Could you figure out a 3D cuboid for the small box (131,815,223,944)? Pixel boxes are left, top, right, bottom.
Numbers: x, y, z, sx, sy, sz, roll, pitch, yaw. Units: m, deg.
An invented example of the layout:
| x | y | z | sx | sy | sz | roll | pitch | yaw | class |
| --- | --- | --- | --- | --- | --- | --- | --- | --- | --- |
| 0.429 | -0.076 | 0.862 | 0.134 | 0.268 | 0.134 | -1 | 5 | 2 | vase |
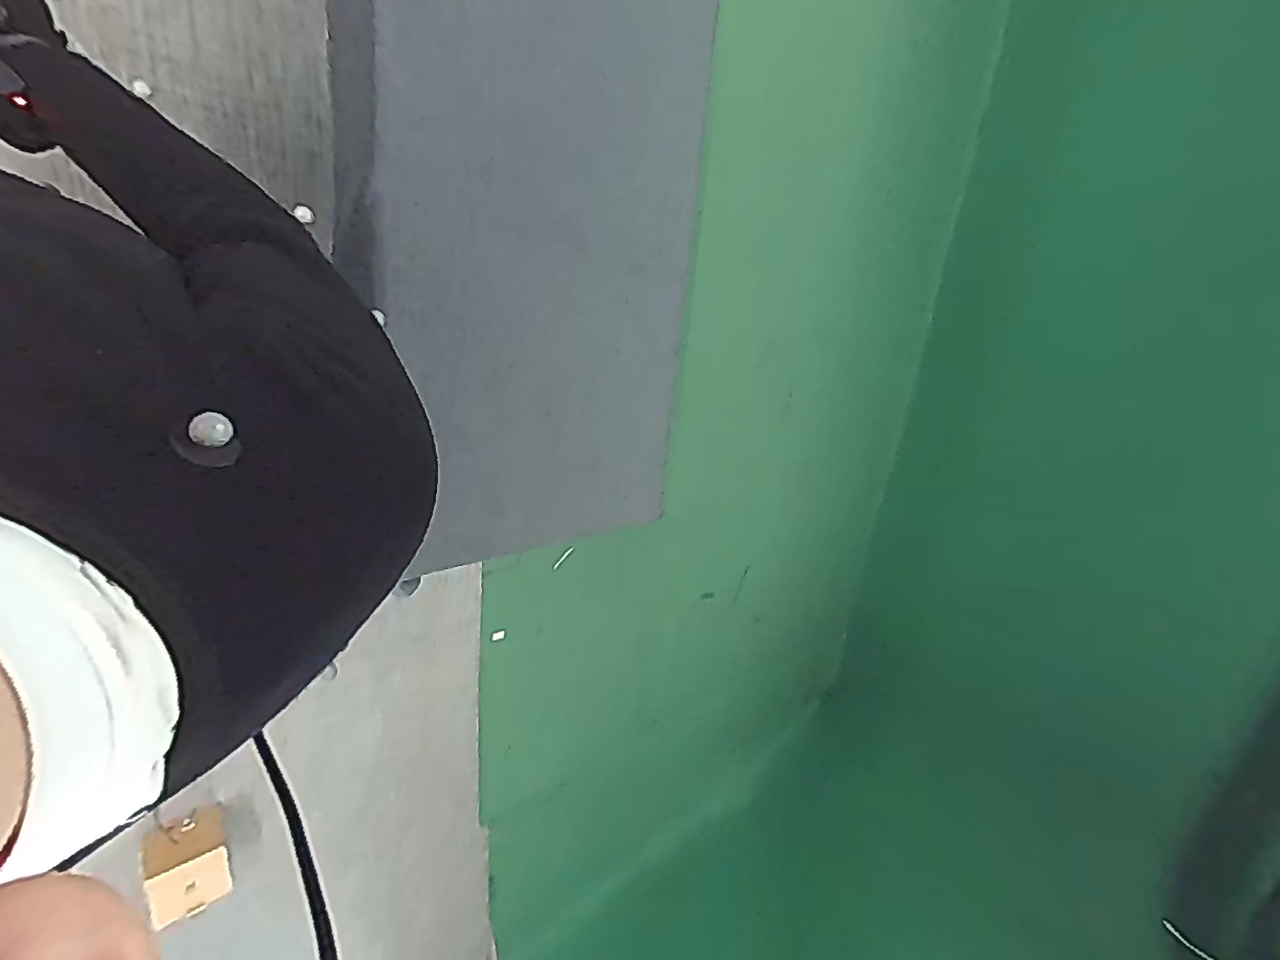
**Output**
| x | y | z | sx | sy | sz | roll | pitch | yaw | class |
| --- | --- | --- | --- | --- | --- | --- | --- | --- | --- |
| -1.222 | 1.043 | 1.428 | 0.168 | 0.176 | 0.179 | -9 | 113 | -44 | small box |
